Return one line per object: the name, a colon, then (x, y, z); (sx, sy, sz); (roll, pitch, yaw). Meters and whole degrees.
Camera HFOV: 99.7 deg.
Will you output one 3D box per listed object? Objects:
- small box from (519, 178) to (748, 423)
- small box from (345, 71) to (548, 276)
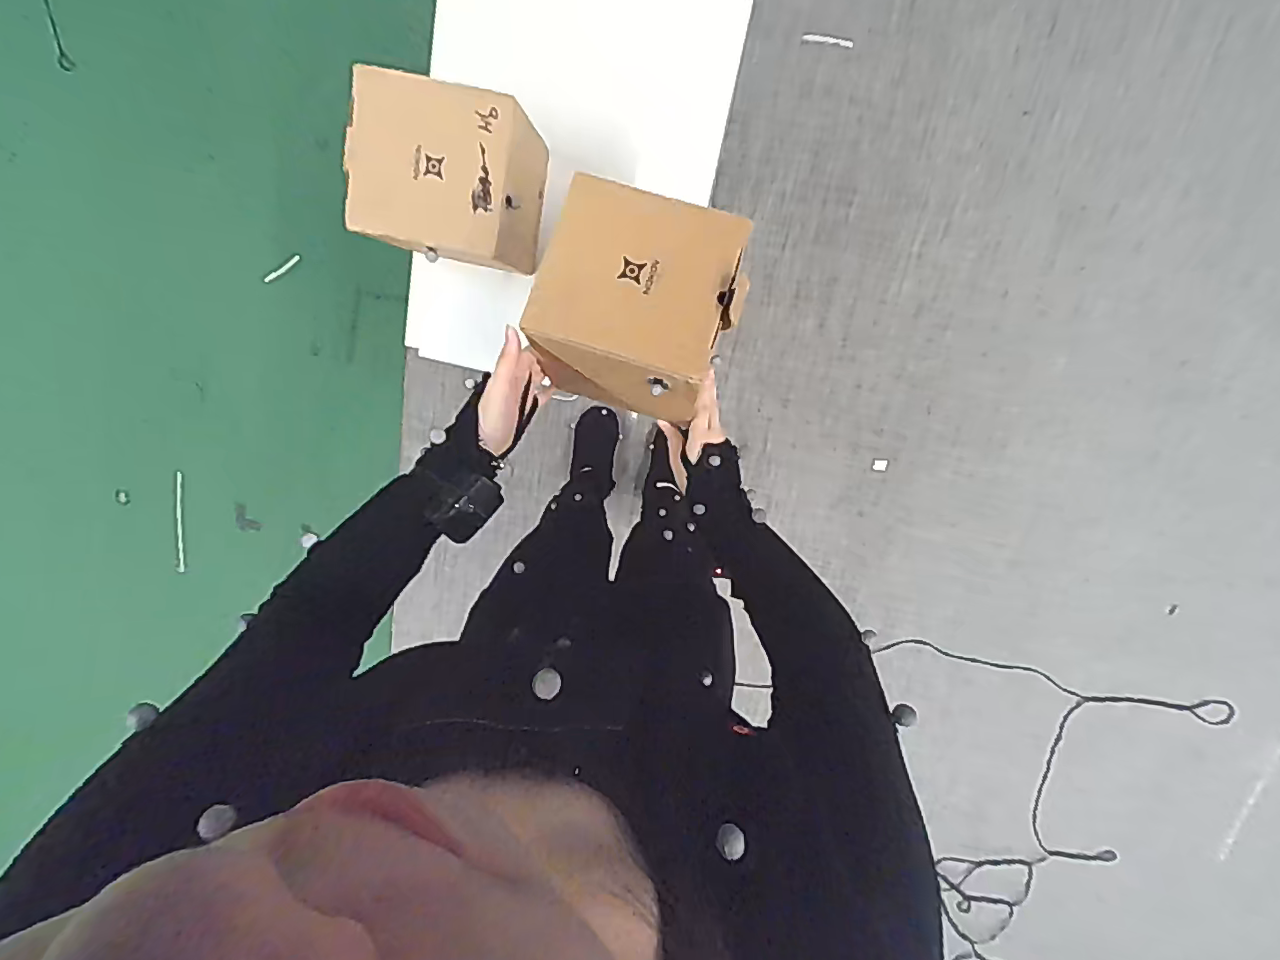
small box: (-0.004, -0.174, 0.576); (0.179, 0.176, 0.168); (17, 82, 3)
small box: (-0.227, -0.357, 0.663); (0.179, 0.176, 0.168); (12, 105, 1)
